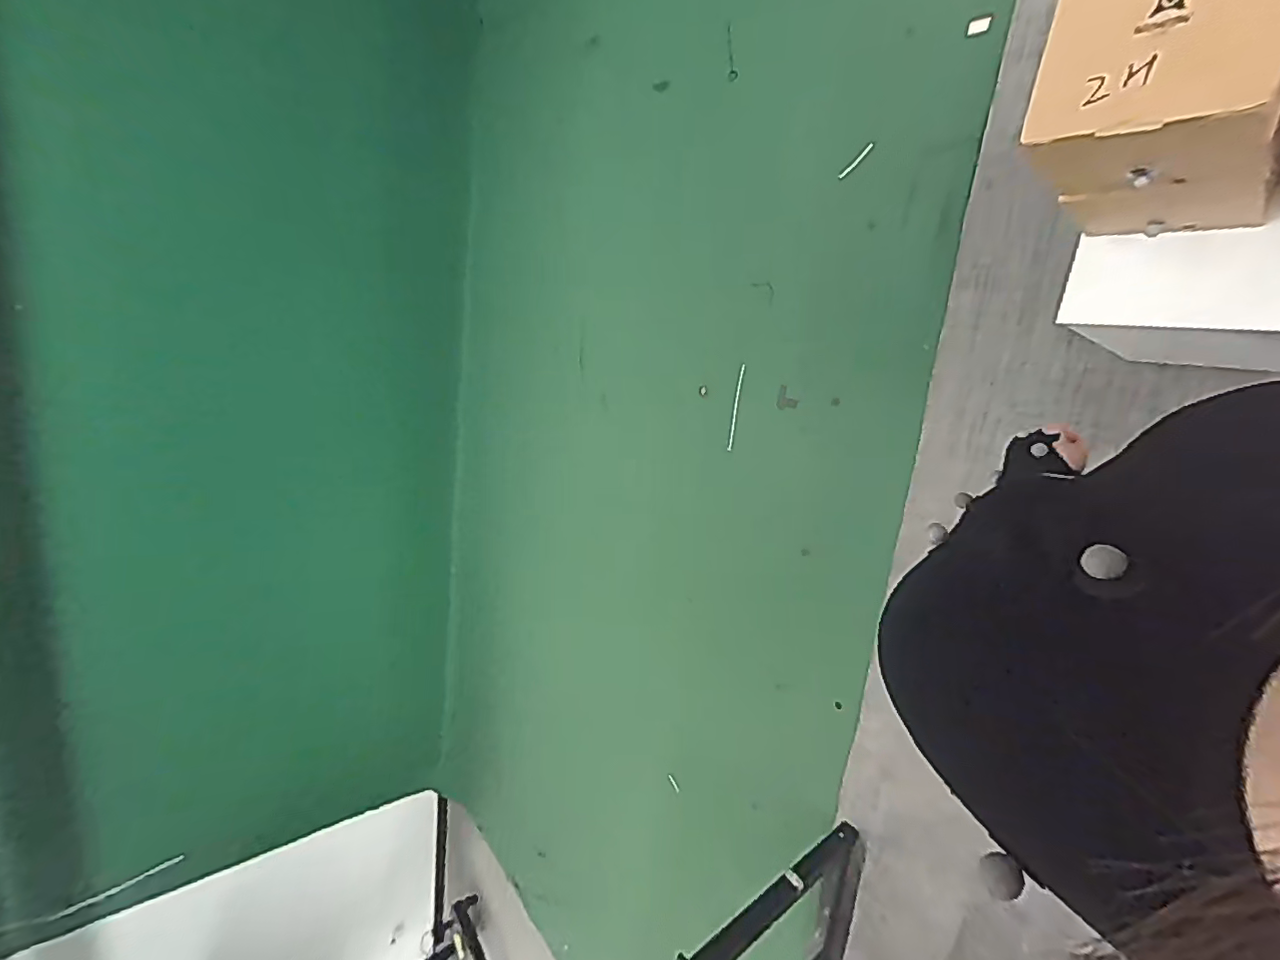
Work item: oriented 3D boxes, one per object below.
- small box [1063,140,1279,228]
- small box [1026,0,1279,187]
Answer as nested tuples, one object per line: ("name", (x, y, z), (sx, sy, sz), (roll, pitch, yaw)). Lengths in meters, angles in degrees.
("small box", (0.614, -0.400, 0.604), (0.168, 0.176, 0.179), (22, 110, 46))
("small box", (0.493, -0.394, 0.493), (0.168, 0.176, 0.179), (24, 111, 46))
